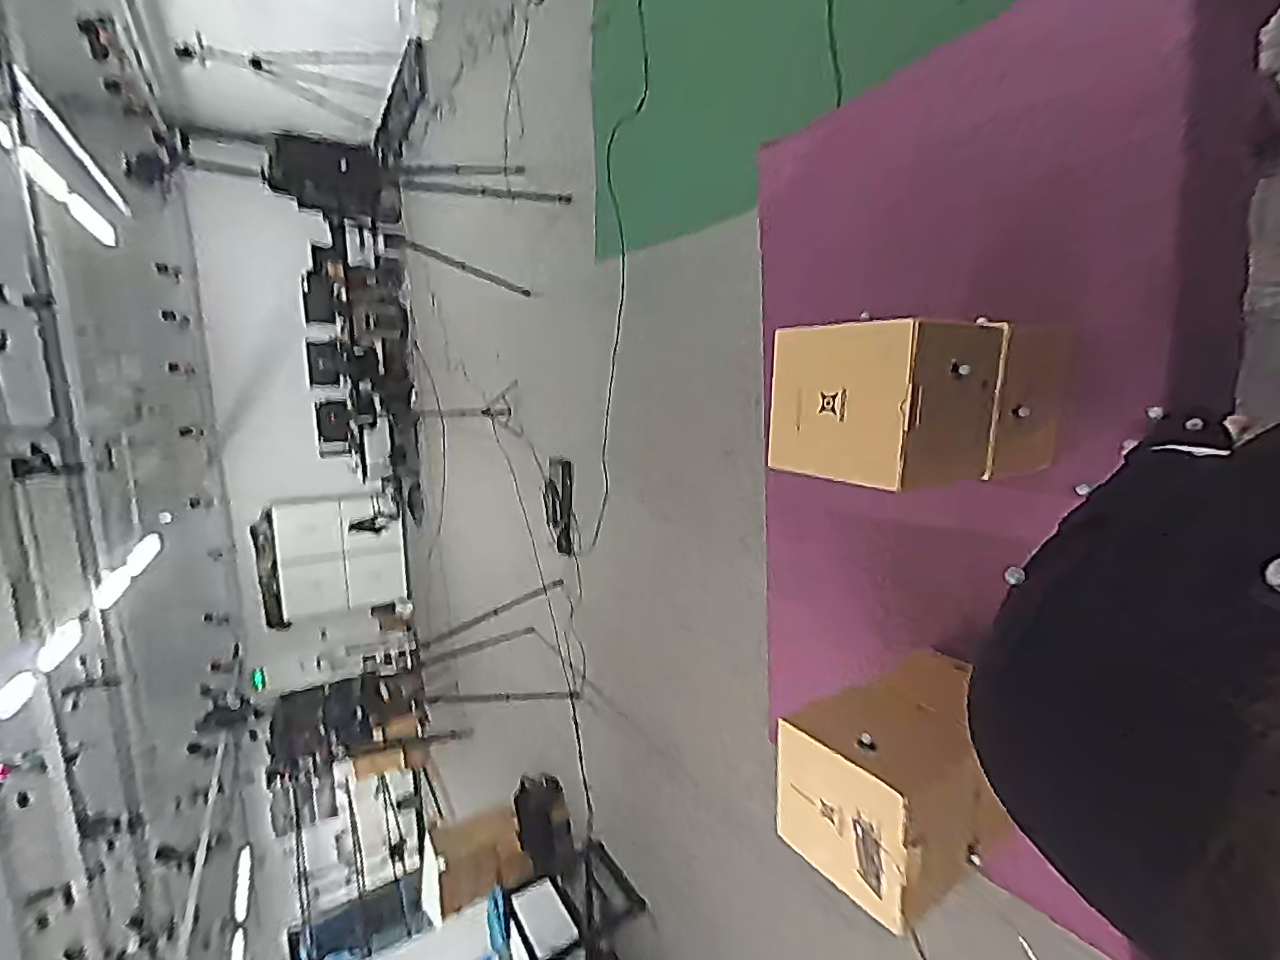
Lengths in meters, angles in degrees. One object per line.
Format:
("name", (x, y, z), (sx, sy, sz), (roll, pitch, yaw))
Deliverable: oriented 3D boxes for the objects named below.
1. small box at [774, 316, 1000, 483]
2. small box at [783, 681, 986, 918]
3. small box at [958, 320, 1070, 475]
("small box", (0.283, -0.098, 0.631), (0.179, 0.176, 0.168), (18, 110, 57))
("small box", (0.304, 0.378, 0.682), (0.179, 0.176, 0.168), (10, 103, 59))
("small box", (0.426, -0.112, 0.709), (0.168, 0.176, 0.179), (18, 110, 55))
